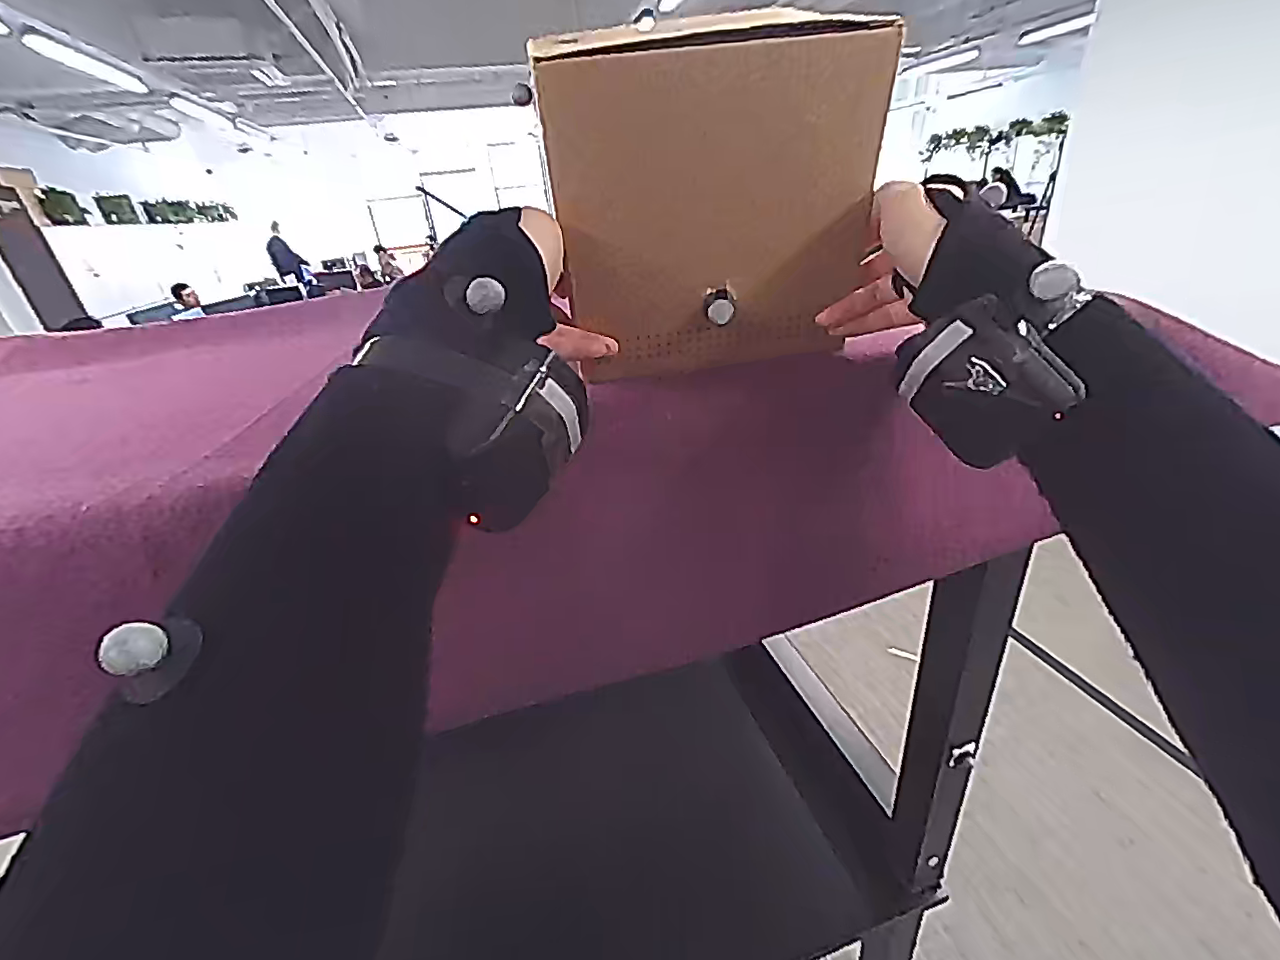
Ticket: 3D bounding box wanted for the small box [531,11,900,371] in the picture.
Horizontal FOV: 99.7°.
[{"bbox_3d":[0.030,-0.189,0.355,0.179,0.176,0.168,-9,39,-4],"label":"small box"}]
